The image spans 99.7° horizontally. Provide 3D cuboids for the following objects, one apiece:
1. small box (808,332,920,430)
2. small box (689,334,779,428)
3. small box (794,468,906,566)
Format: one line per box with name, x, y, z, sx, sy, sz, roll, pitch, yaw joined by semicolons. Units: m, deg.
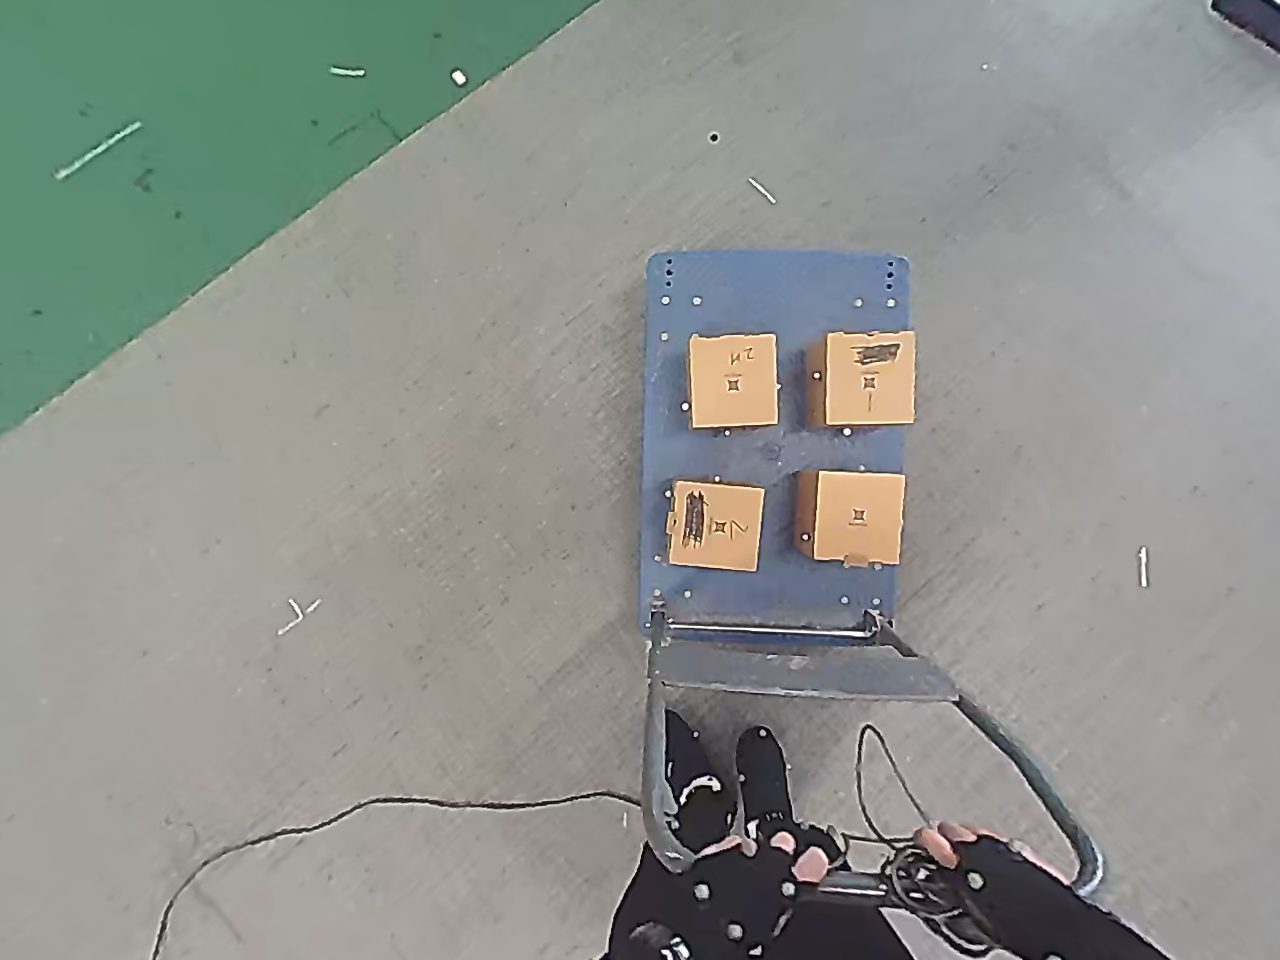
small box;0.445;-0.195;1.099;0.168;0.176;0.179;1;94;4
small box;0.188;-0.197;1.115;0.168;0.176;0.179;-1;93;3
small box;0.423;0.068;1.115;0.168;0.176;0.179;4;95;3
